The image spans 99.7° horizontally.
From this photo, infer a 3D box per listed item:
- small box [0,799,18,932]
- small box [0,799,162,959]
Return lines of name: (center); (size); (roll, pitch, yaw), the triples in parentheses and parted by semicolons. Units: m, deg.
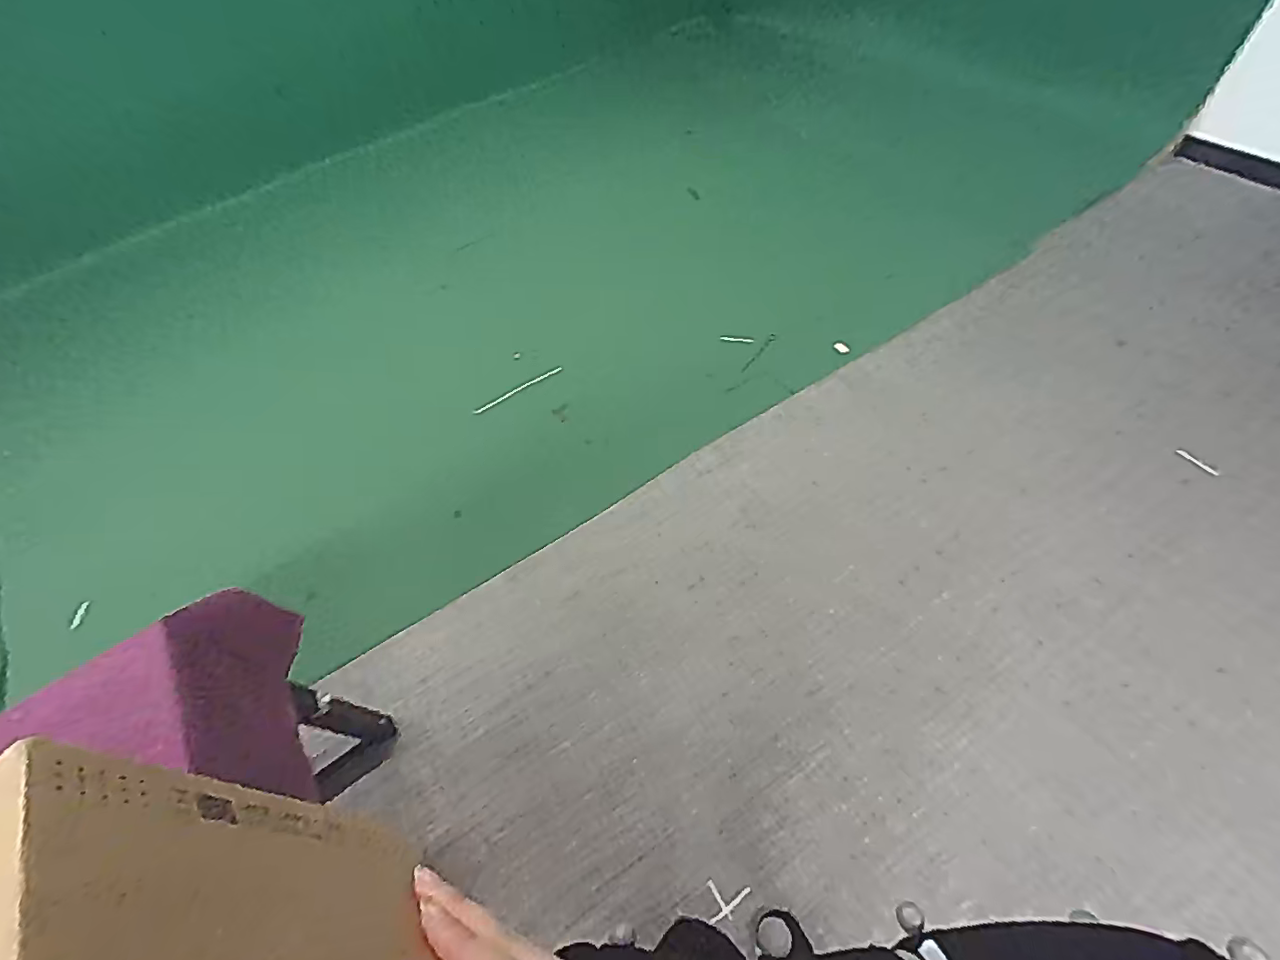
small box: (-0.684, 0.381, 0.440); (0.179, 0.176, 0.168); (-31, 57, -12)
small box: (-0.659, 0.471, 0.575); (0.168, 0.176, 0.179); (-28, 57, -9)
